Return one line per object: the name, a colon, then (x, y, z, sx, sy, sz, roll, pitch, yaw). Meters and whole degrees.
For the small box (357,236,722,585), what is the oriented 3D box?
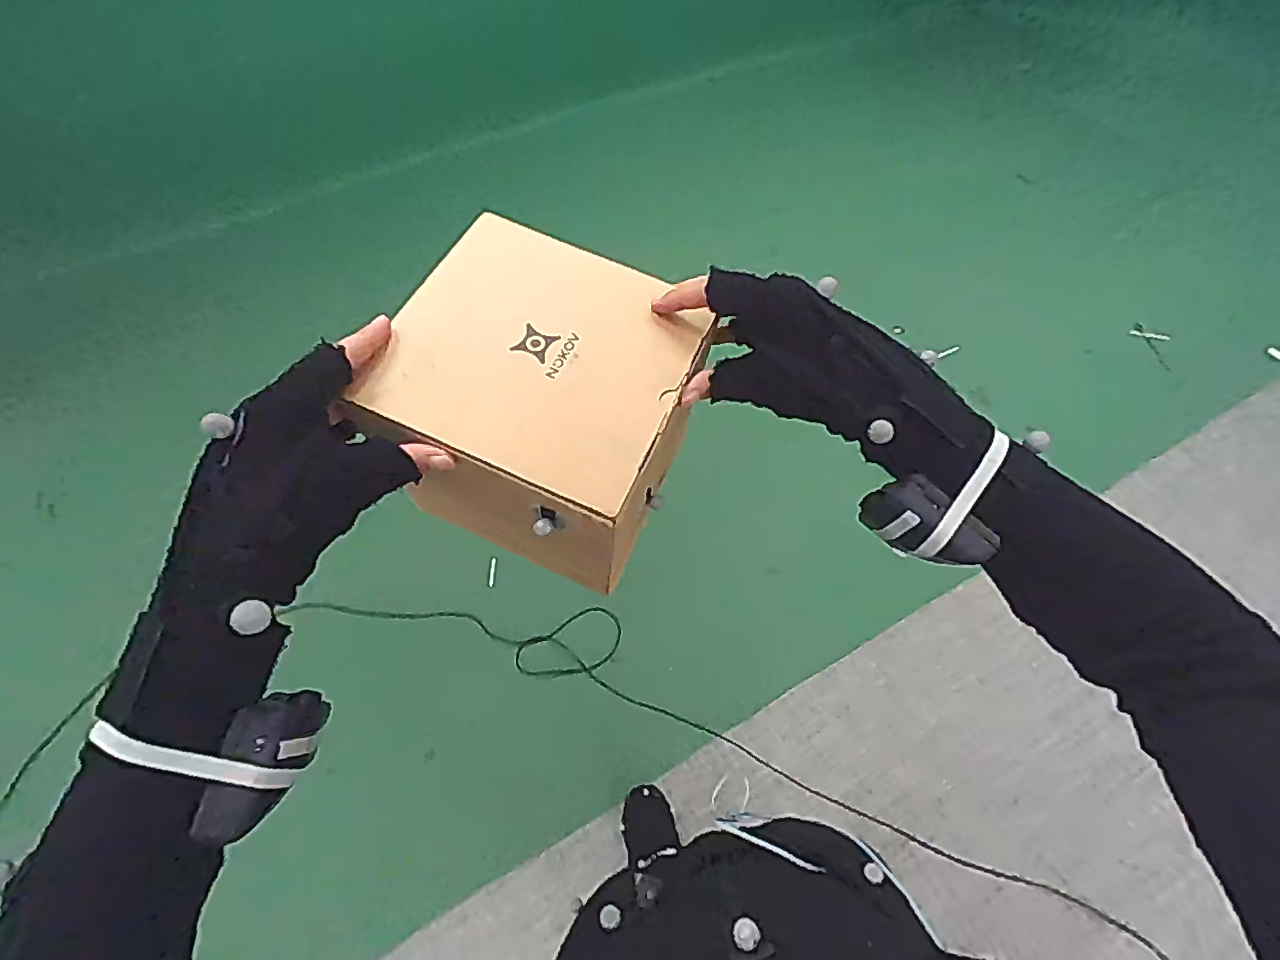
small box: (-0.062, -0.040, 0.409, 0.179, 0.176, 0.168, 24, 65, 6)
